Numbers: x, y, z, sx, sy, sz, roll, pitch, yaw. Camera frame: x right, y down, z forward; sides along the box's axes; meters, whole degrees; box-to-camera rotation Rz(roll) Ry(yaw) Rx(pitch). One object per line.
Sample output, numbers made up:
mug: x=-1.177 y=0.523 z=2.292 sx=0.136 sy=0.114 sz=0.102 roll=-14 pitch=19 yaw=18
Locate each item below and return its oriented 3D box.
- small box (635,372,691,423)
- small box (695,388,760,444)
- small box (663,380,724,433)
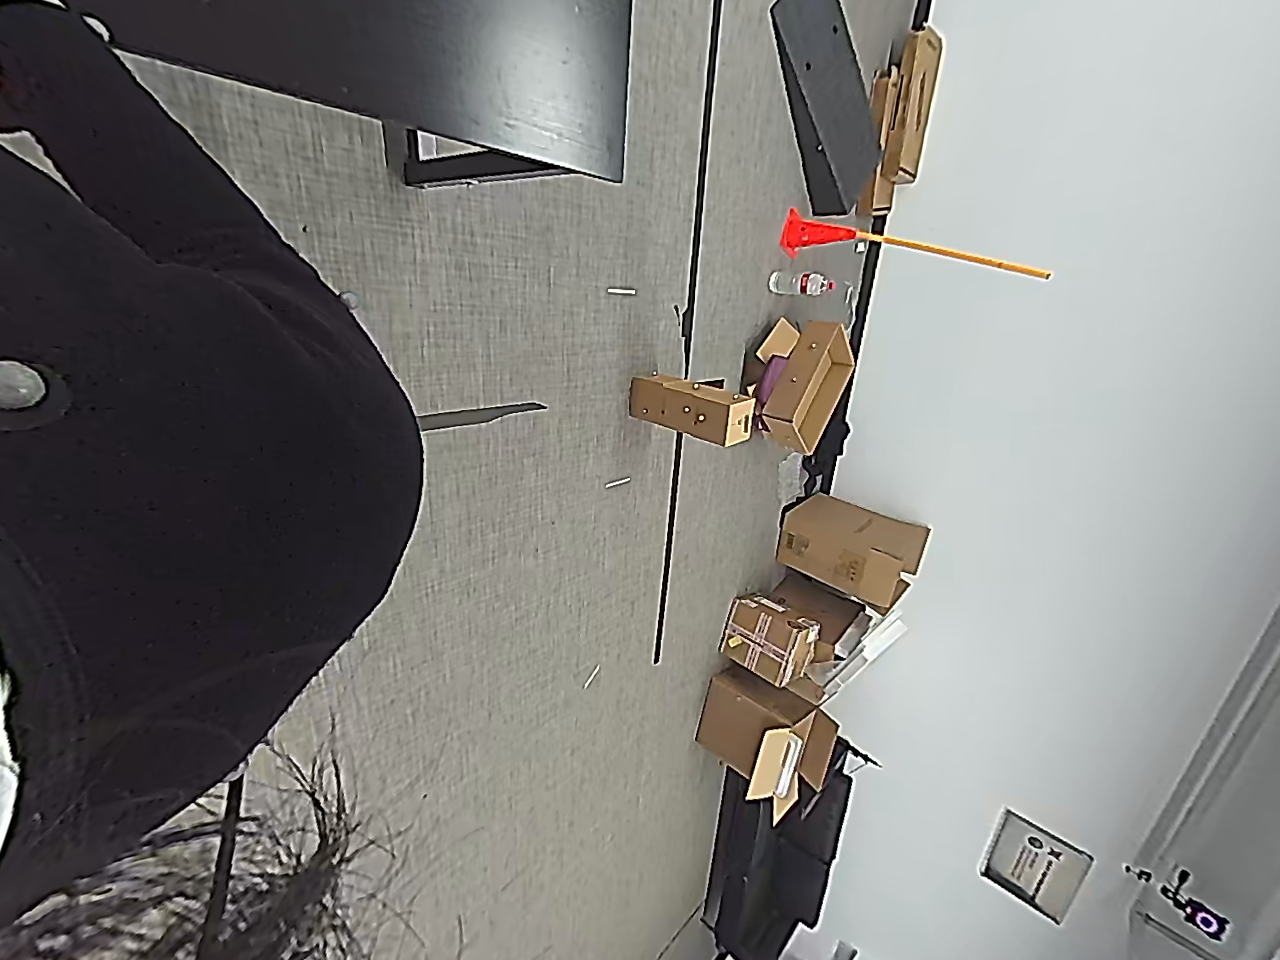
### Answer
small box: x=0.095 y=-0.353 z=2.282 sx=0.168 sy=0.176 sz=0.179 roll=-19 pitch=120 yaw=-45
small box: x=0.336 y=-0.251 z=2.082 sx=0.179 sy=0.176 sz=0.168 roll=-20 pitch=122 yaw=-44
small box: x=0.214 y=-0.304 z=2.181 sx=0.179 sy=0.176 sz=0.168 roll=-21 pitch=122 yaw=-45
